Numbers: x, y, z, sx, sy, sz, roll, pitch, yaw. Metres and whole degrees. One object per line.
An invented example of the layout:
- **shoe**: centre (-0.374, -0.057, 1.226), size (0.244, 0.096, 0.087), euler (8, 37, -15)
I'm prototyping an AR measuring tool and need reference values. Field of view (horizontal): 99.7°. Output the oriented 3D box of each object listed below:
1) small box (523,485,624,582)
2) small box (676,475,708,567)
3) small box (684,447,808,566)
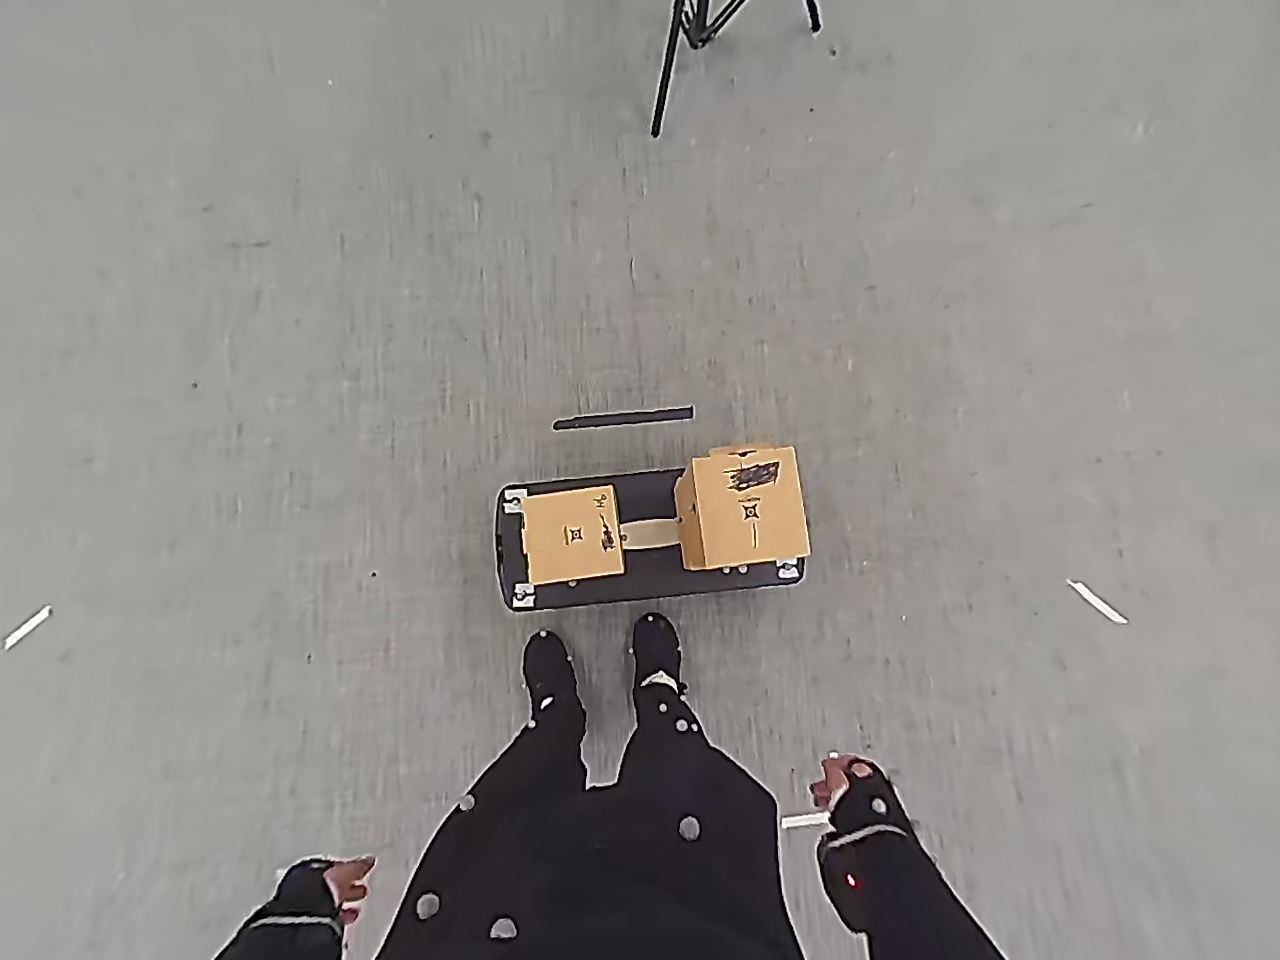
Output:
- **small box**: centre (-0.127, 0.111, 1.084), size (0.179, 0.176, 0.168), euler (-8, 82, -1)
- **small box**: centre (0.162, 0.080, 1.089), size (0.168, 0.176, 0.179), euler (-7, 82, 0)
- **small box**: centre (0.170, 0.052, 0.928), size (0.168, 0.176, 0.179), euler (-7, 82, -1)
